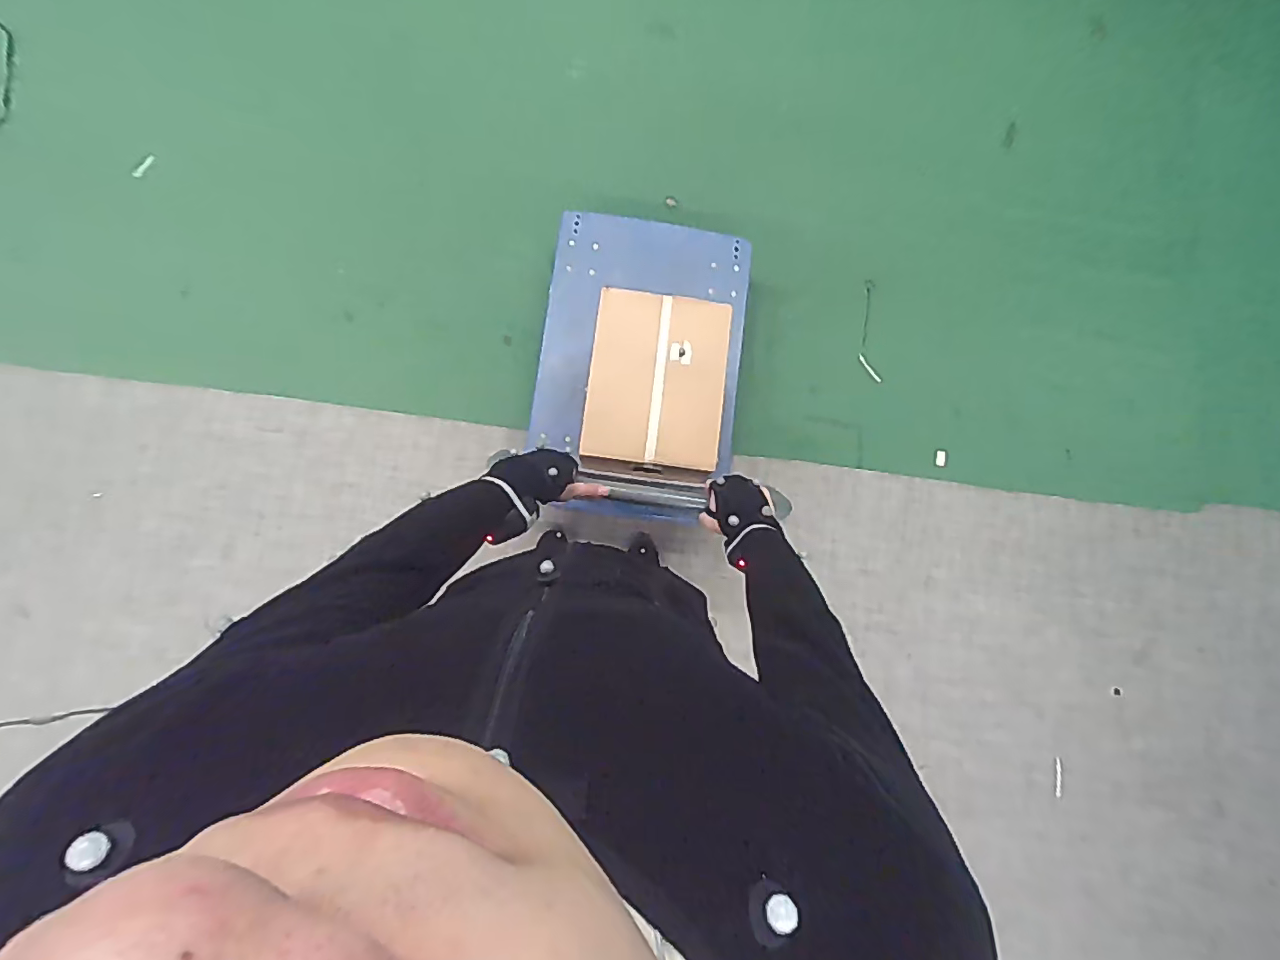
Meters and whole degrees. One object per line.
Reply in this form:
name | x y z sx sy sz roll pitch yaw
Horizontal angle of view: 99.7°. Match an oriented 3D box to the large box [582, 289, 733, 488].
large box | 0.035 -0.207 1.369 0.320 0.320 0.408 8 81 -4
